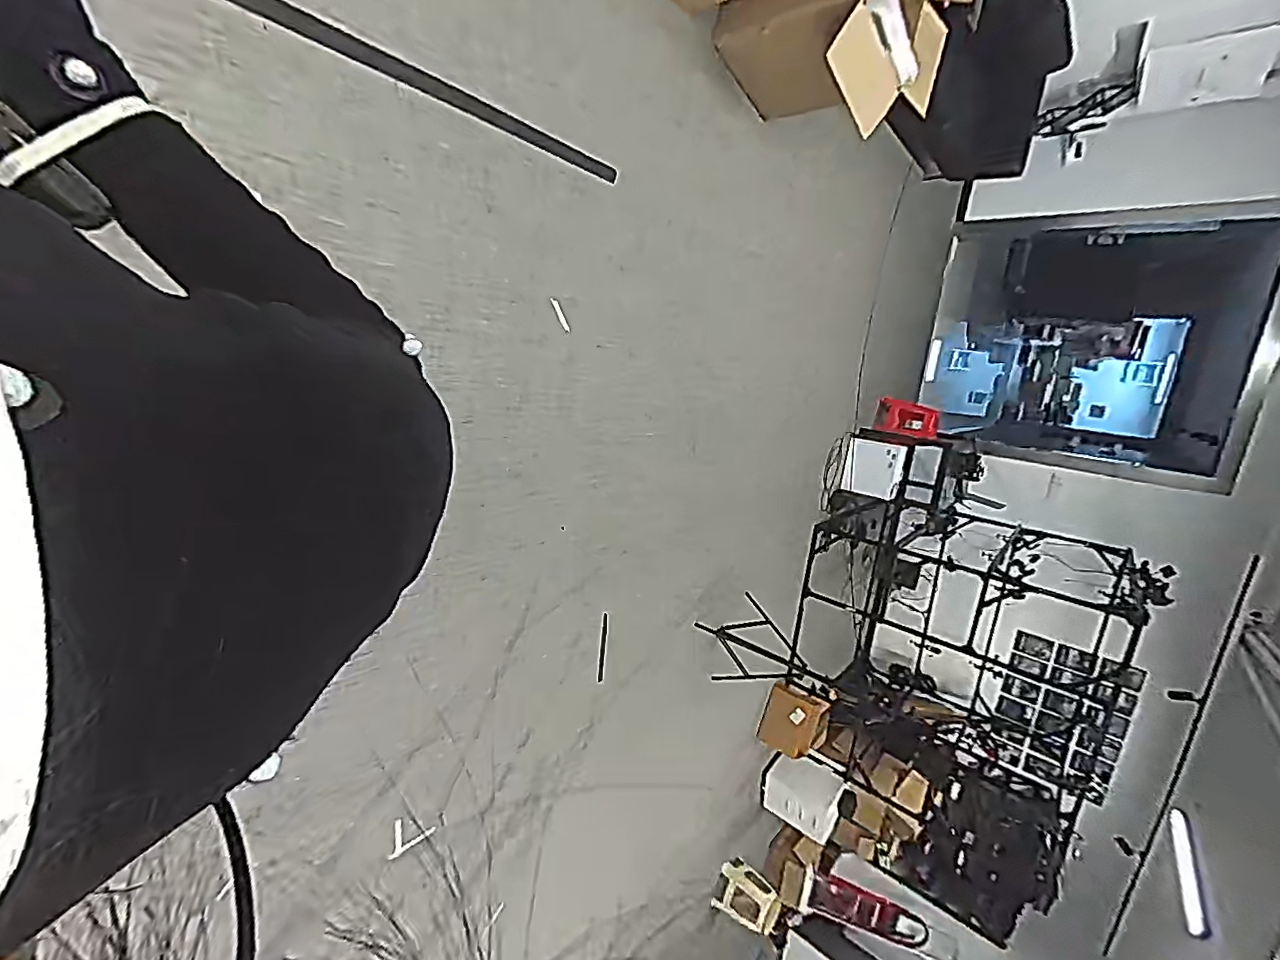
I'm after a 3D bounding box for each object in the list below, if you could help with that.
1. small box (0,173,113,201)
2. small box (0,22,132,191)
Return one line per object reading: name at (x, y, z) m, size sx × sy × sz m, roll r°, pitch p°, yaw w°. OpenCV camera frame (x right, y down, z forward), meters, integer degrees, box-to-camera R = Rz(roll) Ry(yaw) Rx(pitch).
small box at (-1.008, -0.578, 0.896) m, size 0.168 × 0.176 × 0.179 m, roll -13°, pitch 113°, yaw -49°
small box at (-0.886, -0.538, 0.791) m, size 0.179 × 0.176 × 0.168 m, roll -13°, pitch 112°, yaw -50°
